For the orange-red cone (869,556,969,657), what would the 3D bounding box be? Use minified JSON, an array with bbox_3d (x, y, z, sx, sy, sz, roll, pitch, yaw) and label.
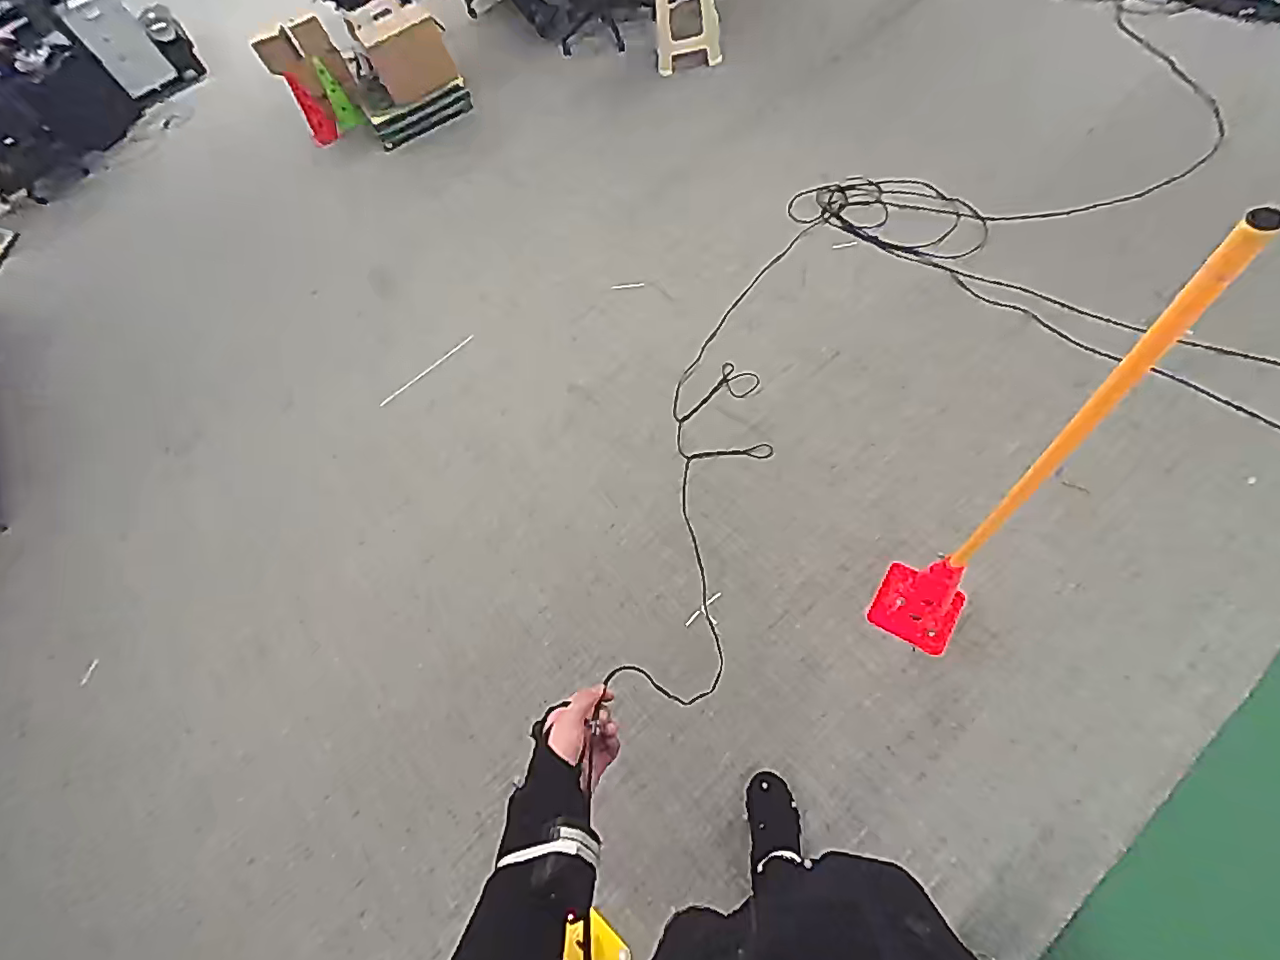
[{"bbox_3d":[0.709,0.261,1.298,0.198,0.360,0.199,28,69,24],"label":"orange-red cone"}]
